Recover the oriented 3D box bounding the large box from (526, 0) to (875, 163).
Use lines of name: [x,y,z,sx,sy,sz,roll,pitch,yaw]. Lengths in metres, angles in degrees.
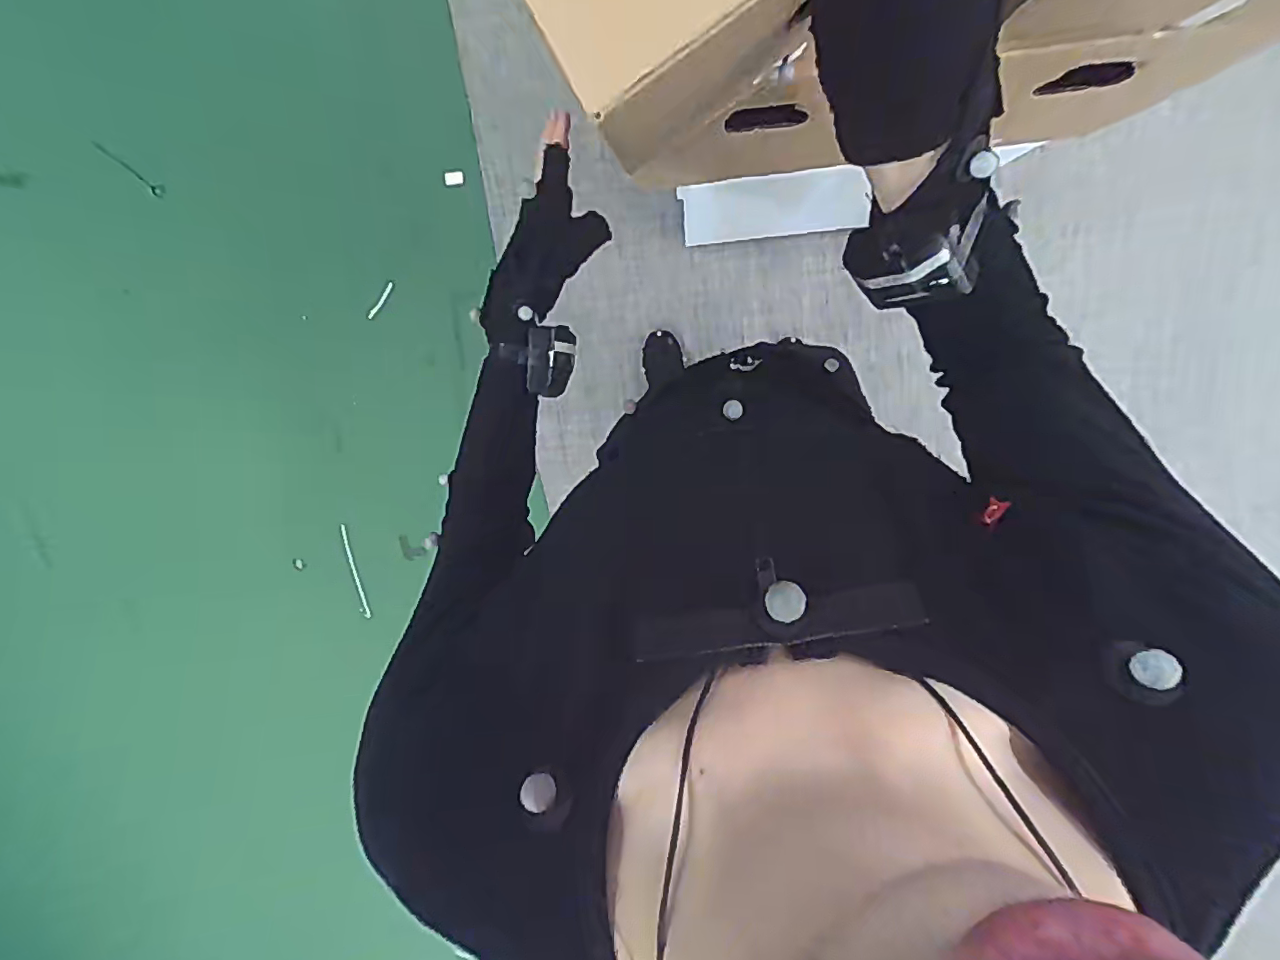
large box: [0.016,-0.451,0.263,0.320,0.320,0.408,-27,110,15]
